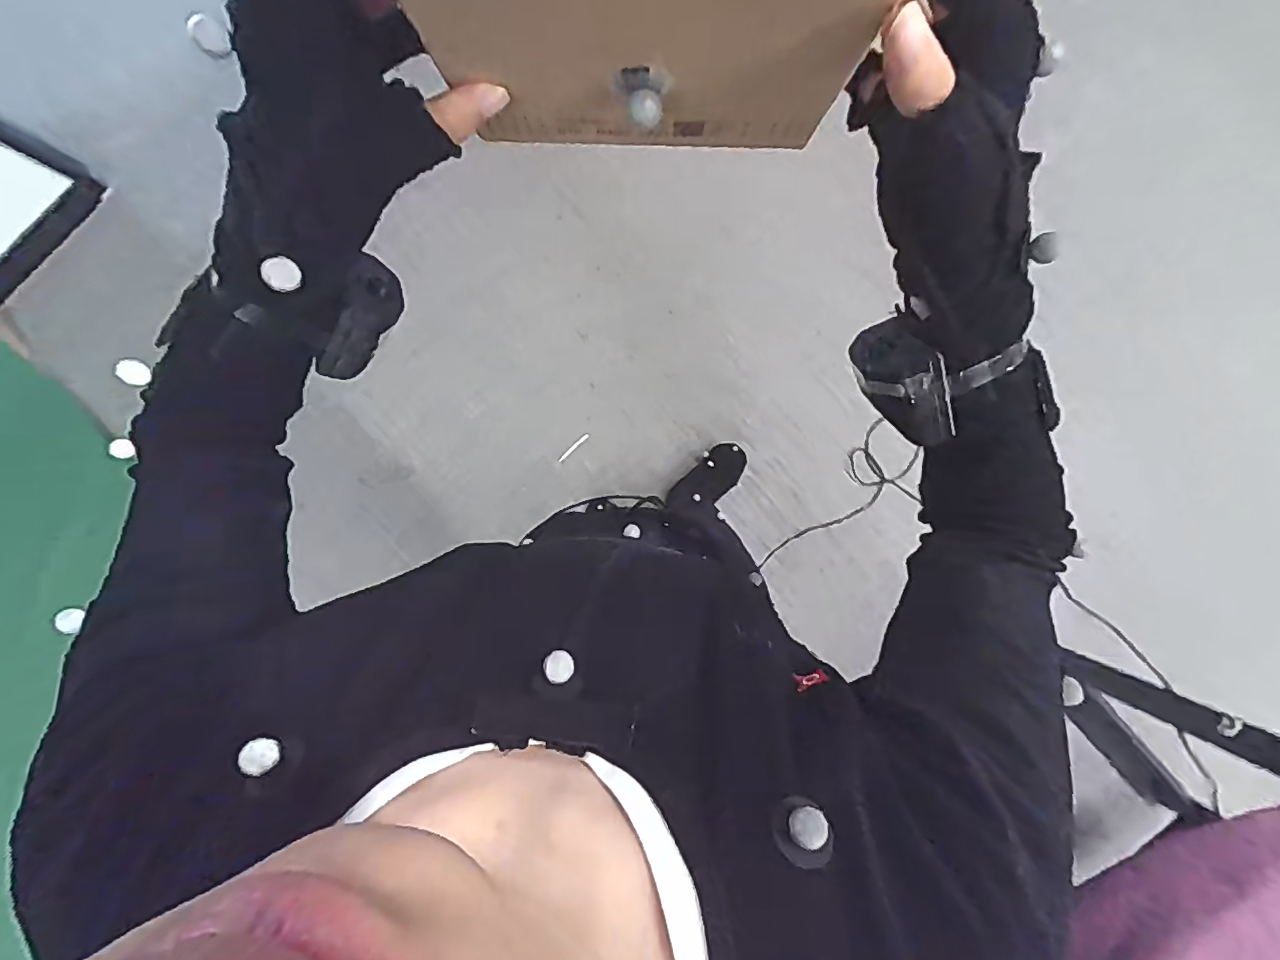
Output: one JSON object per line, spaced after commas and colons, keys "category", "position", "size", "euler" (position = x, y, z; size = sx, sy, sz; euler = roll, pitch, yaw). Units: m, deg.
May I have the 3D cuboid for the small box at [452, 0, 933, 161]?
{"category": "small box", "position": [0.014, -0.240, 0.181], "size": [0.168, 0.176, 0.179], "euler": [2, 98, 0]}
